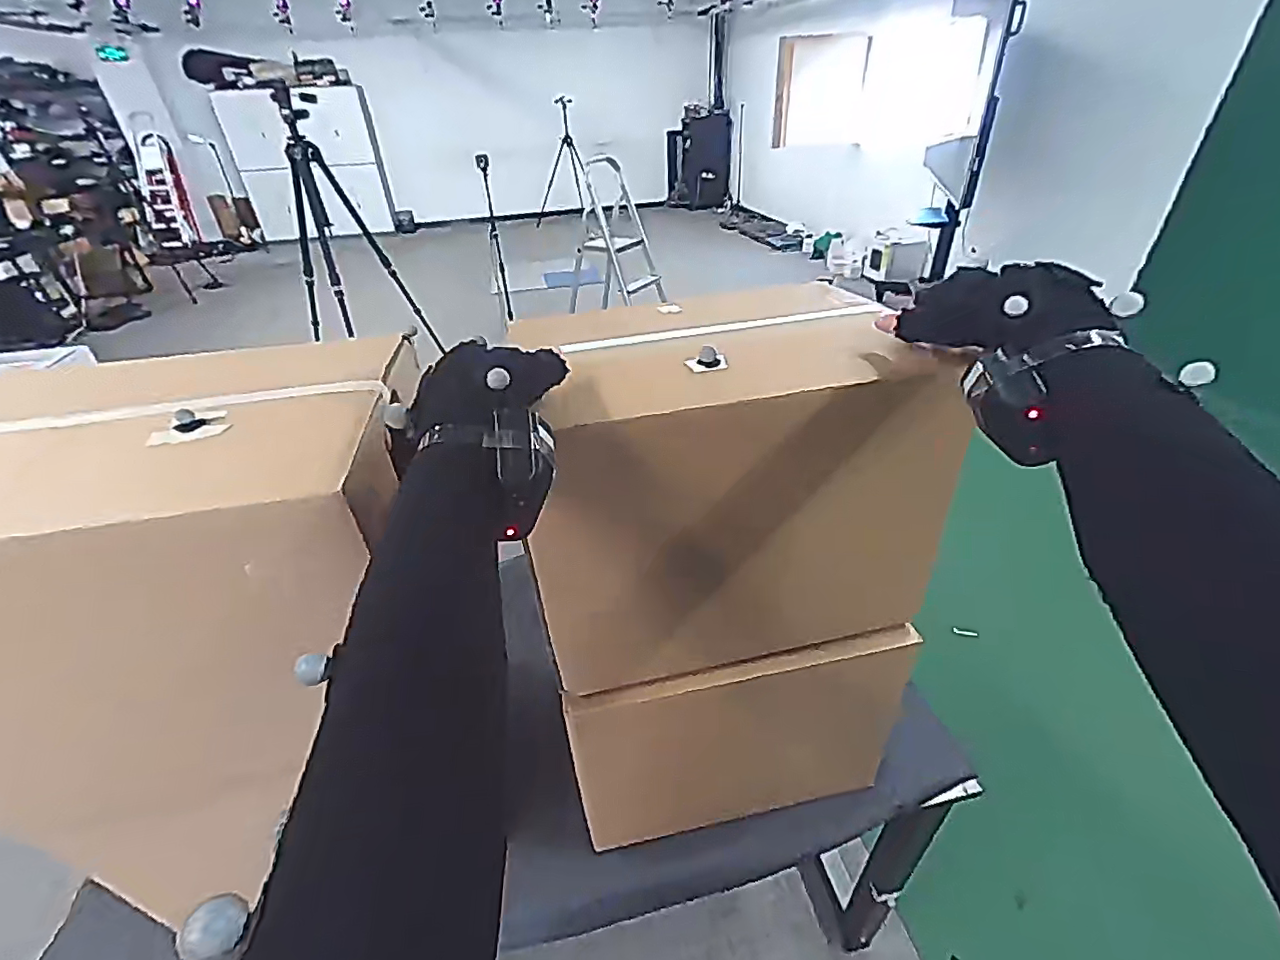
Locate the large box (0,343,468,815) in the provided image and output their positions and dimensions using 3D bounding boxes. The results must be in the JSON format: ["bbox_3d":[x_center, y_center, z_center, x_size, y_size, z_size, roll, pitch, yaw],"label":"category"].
[{"bbox_3d":[-0.416,0.074,0.554,0.408,0.320,0.320,-7,36,-9],"label":"large box"}]
